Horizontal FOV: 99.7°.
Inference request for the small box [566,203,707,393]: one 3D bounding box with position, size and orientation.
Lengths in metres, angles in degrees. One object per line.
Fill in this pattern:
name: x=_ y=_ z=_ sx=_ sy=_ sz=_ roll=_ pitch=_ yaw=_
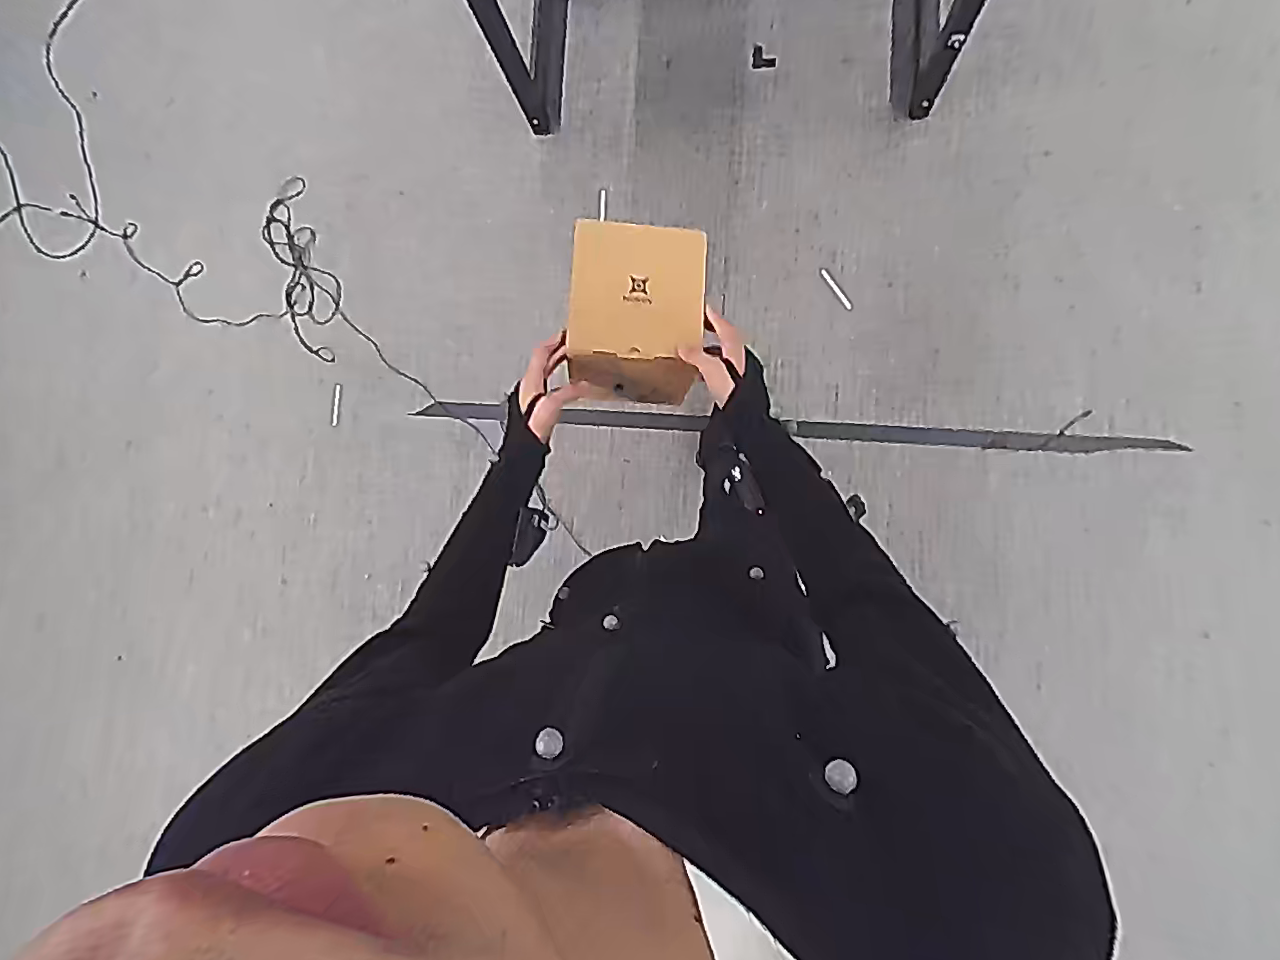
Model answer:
small box: x=-0.009 y=-0.231 z=0.722 sx=0.168 sy=0.176 sz=0.179 roll=3 pitch=81 yaw=-4
